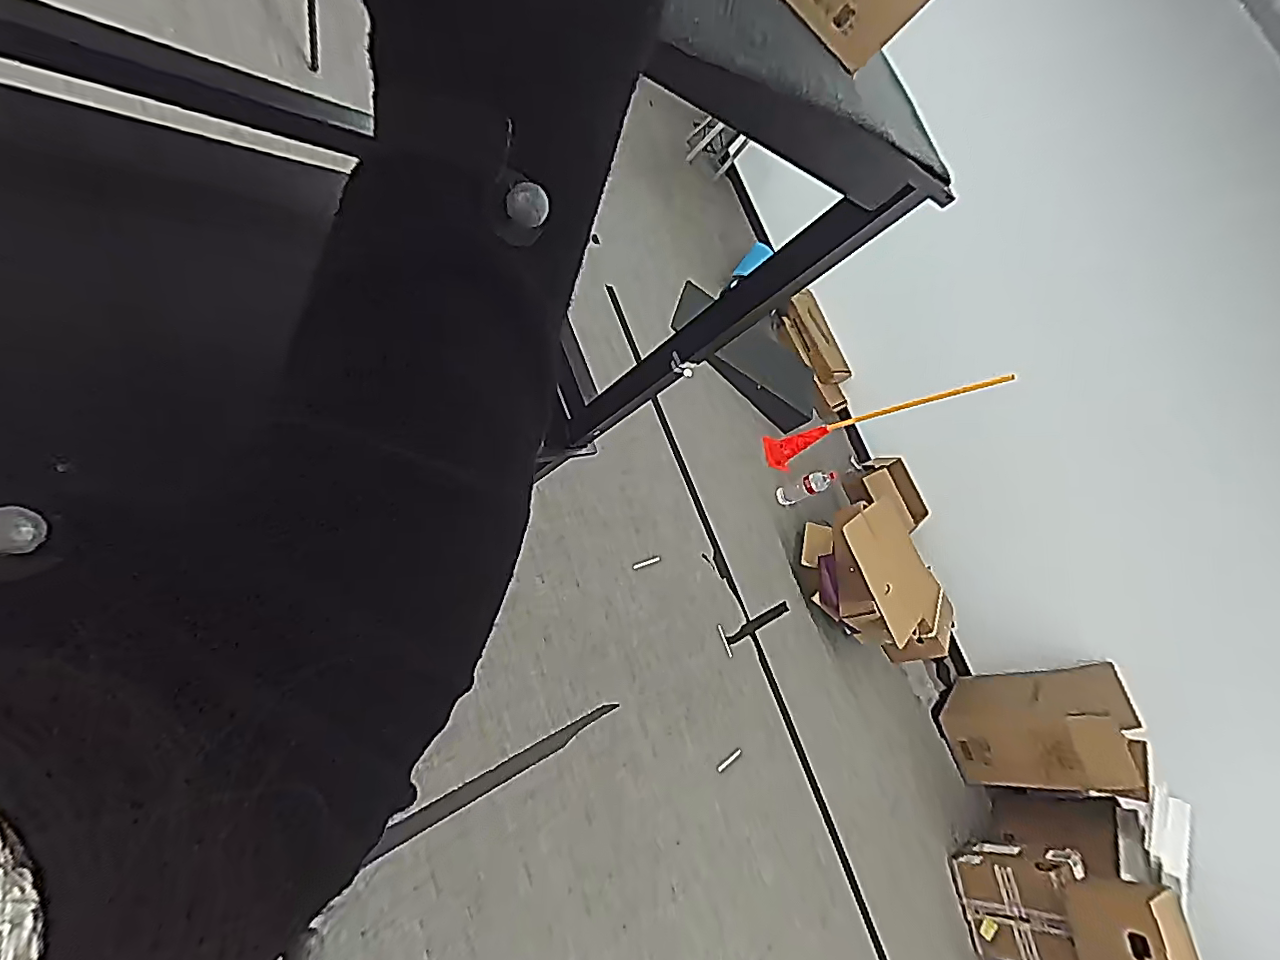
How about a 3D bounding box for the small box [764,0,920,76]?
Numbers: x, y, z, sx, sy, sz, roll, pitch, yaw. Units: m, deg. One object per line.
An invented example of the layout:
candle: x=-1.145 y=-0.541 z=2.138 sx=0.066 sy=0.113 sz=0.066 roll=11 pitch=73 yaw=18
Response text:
small box: x=0.147 y=-0.461 z=0.394 sx=0.168 sy=0.176 sz=0.179 roll=-4 pitch=71 yaw=-45
